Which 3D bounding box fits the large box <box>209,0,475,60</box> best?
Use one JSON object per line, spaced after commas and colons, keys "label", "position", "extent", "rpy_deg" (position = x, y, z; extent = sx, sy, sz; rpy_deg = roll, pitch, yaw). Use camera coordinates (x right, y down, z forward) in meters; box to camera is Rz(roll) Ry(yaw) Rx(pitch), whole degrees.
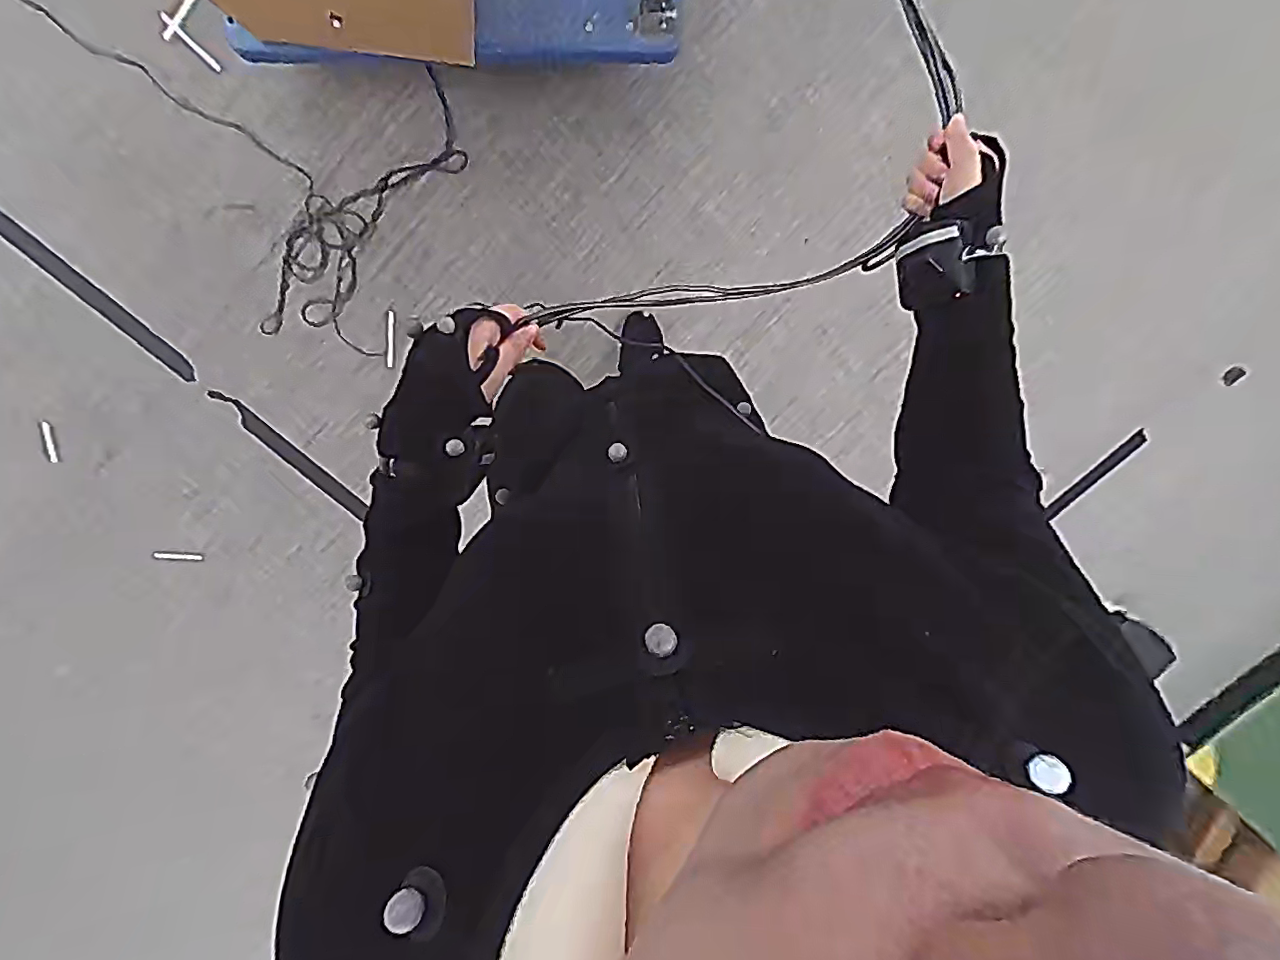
{"label": "large box", "position": [-0.498, -0.913, 0.845], "extent": [0.408, 0.320, 0.320], "rpy_deg": [2, 106, -5]}
